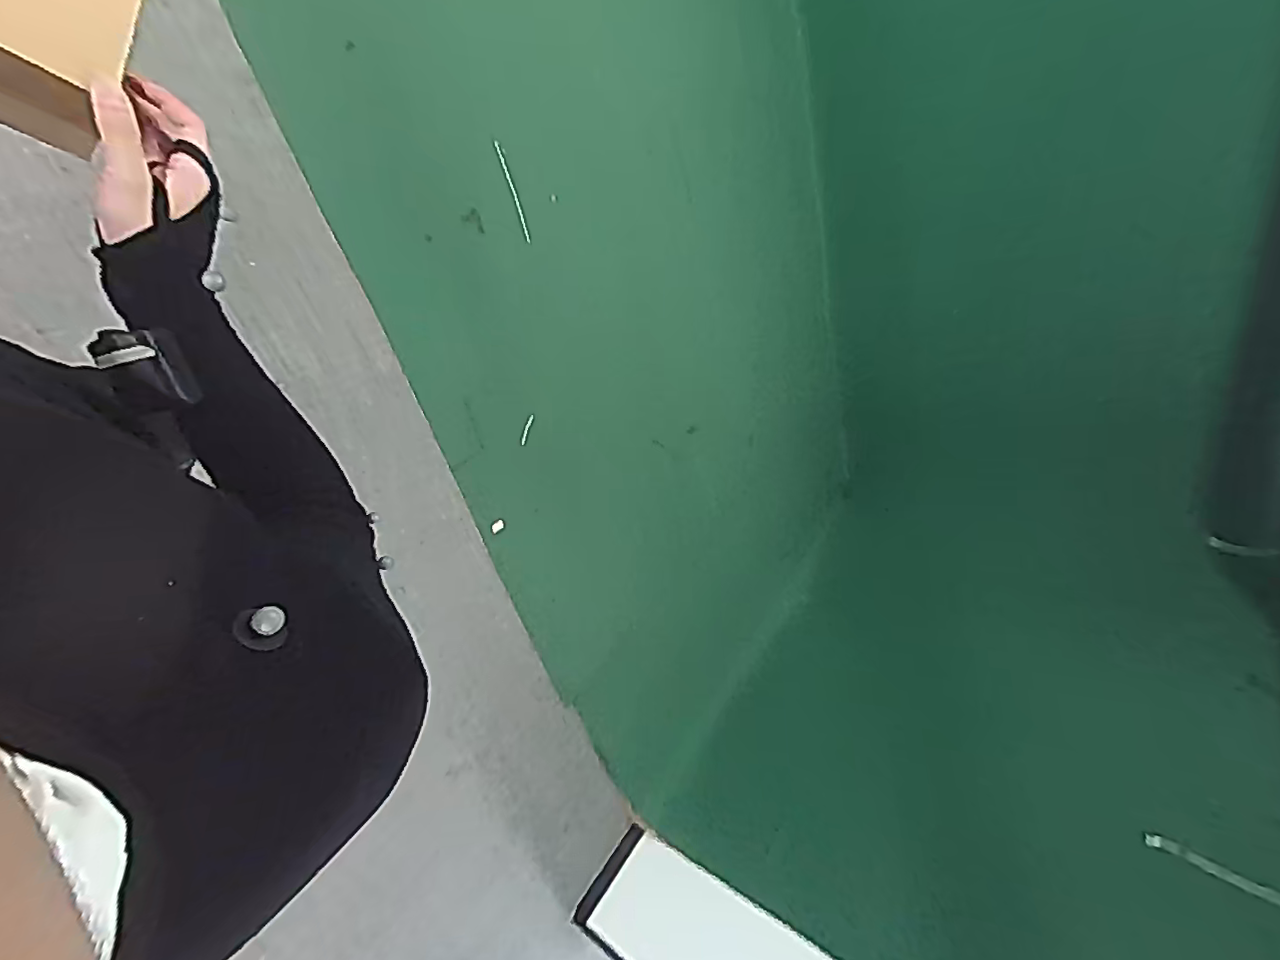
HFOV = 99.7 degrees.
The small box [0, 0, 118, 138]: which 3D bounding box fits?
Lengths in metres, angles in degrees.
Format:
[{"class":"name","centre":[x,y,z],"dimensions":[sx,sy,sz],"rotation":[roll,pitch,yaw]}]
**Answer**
[{"class":"small box","centre":[-0.474,-0.369,0.358],"dimensions":[0.179,0.176,0.168],"rotation":[14,86,-51]}]
